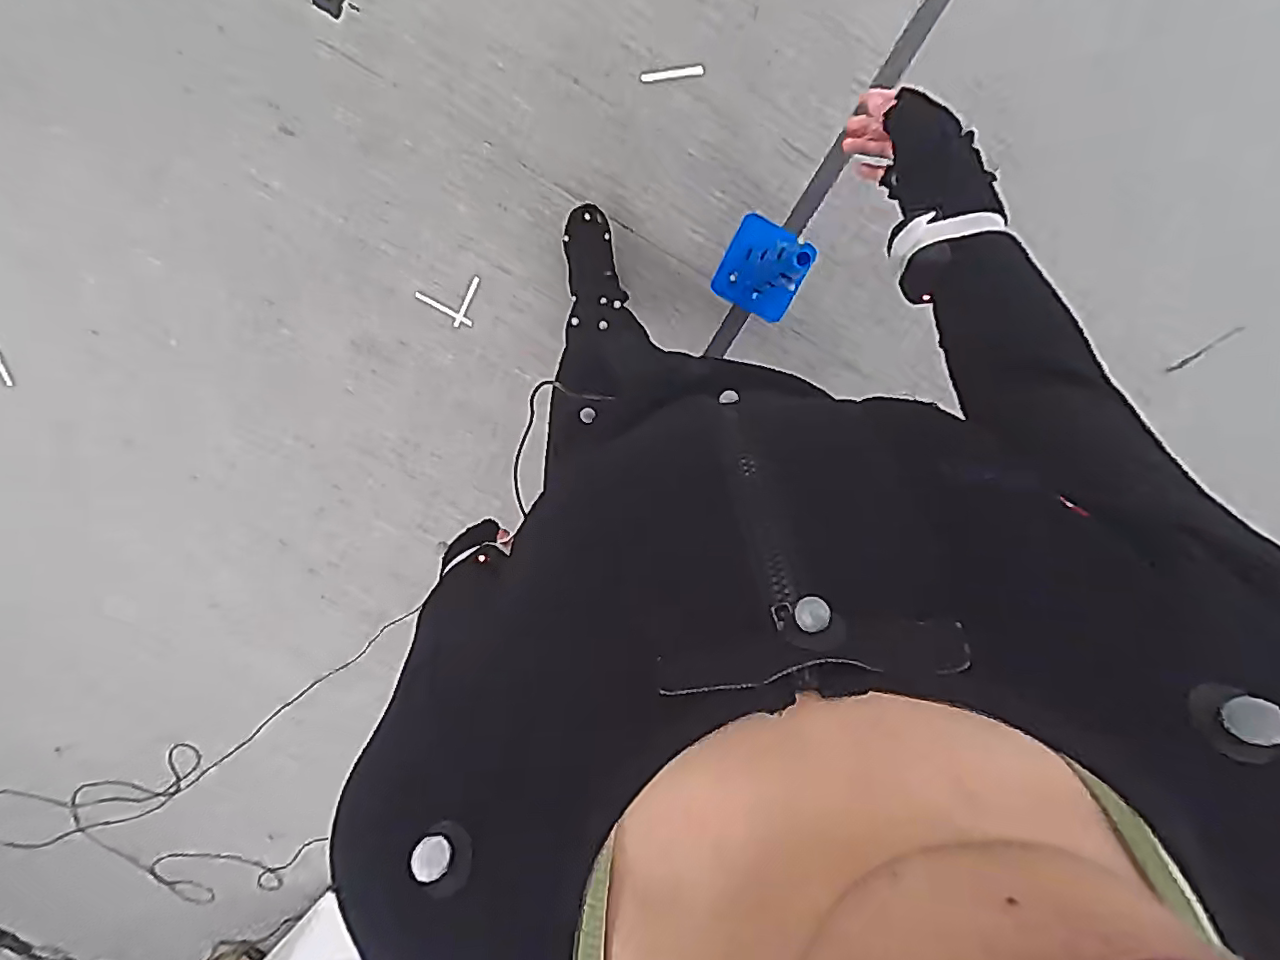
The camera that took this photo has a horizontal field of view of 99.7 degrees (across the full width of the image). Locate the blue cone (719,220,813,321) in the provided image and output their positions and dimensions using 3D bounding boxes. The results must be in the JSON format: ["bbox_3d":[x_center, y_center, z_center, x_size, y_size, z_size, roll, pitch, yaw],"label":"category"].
[{"bbox_3d":[0.302,-0.445,1.143,0.192,0.380,0.193,24,108,-7],"label":"blue cone"}]
